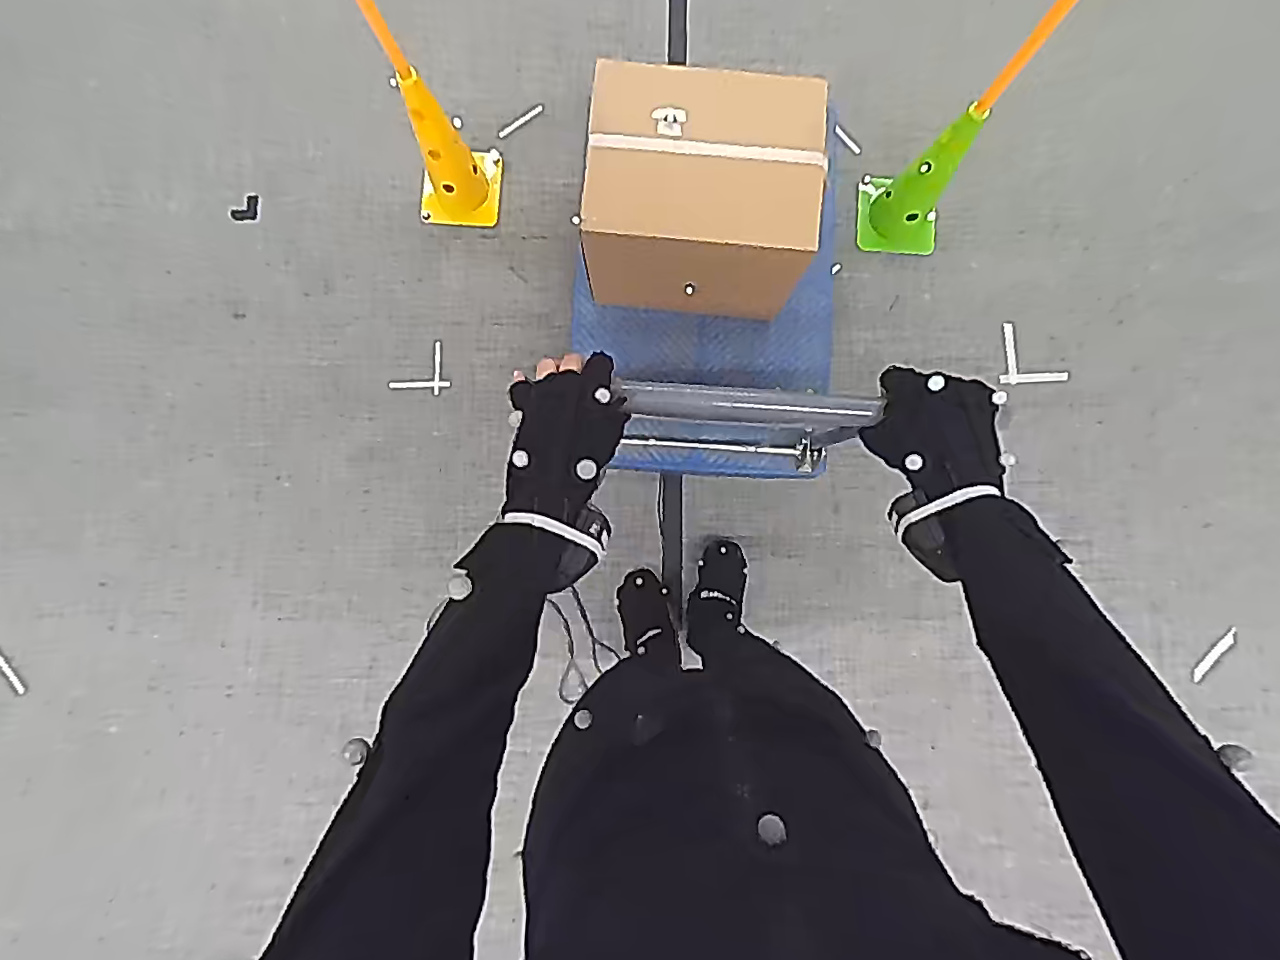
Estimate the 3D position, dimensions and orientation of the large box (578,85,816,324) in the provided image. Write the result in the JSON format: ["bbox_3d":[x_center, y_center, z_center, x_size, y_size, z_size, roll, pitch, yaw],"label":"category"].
[{"bbox_3d":[0.106,-0.523,1.088,0.408,0.320,0.320,5,85,1],"label":"large box"}]

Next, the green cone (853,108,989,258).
[{"bbox_3d":[0.663,-0.698,1.246,0.202,0.368,0.200,4,84,-1],"label":"green cone"}]
